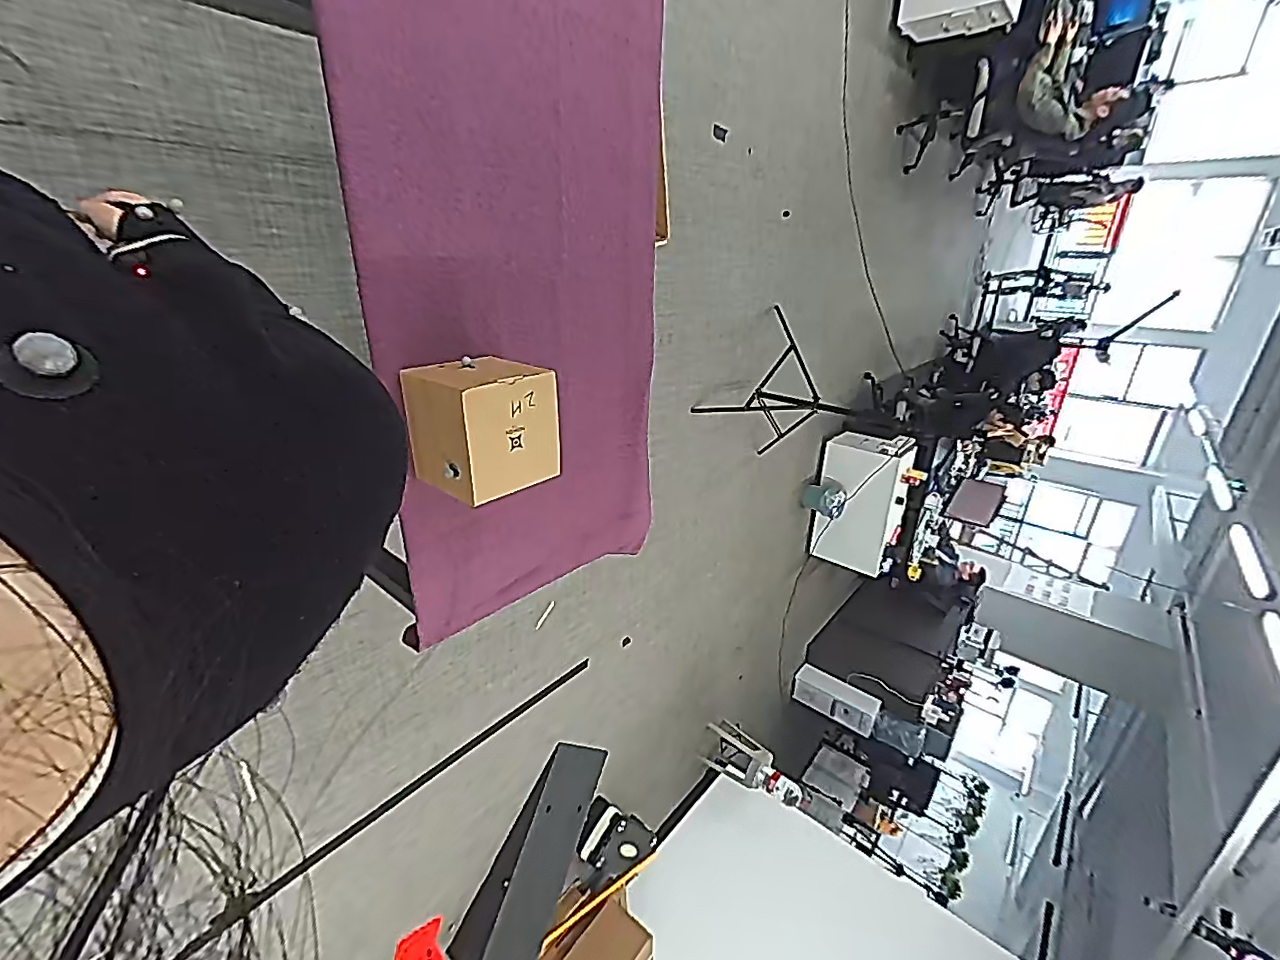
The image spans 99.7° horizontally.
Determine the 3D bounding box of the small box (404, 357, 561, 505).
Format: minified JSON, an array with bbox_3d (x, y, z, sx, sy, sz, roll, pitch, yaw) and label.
[{"bbox_3d":[-0.243,-0.086,0.847,0.168,0.176,0.179,-25,124,-45],"label":"small box"}]
